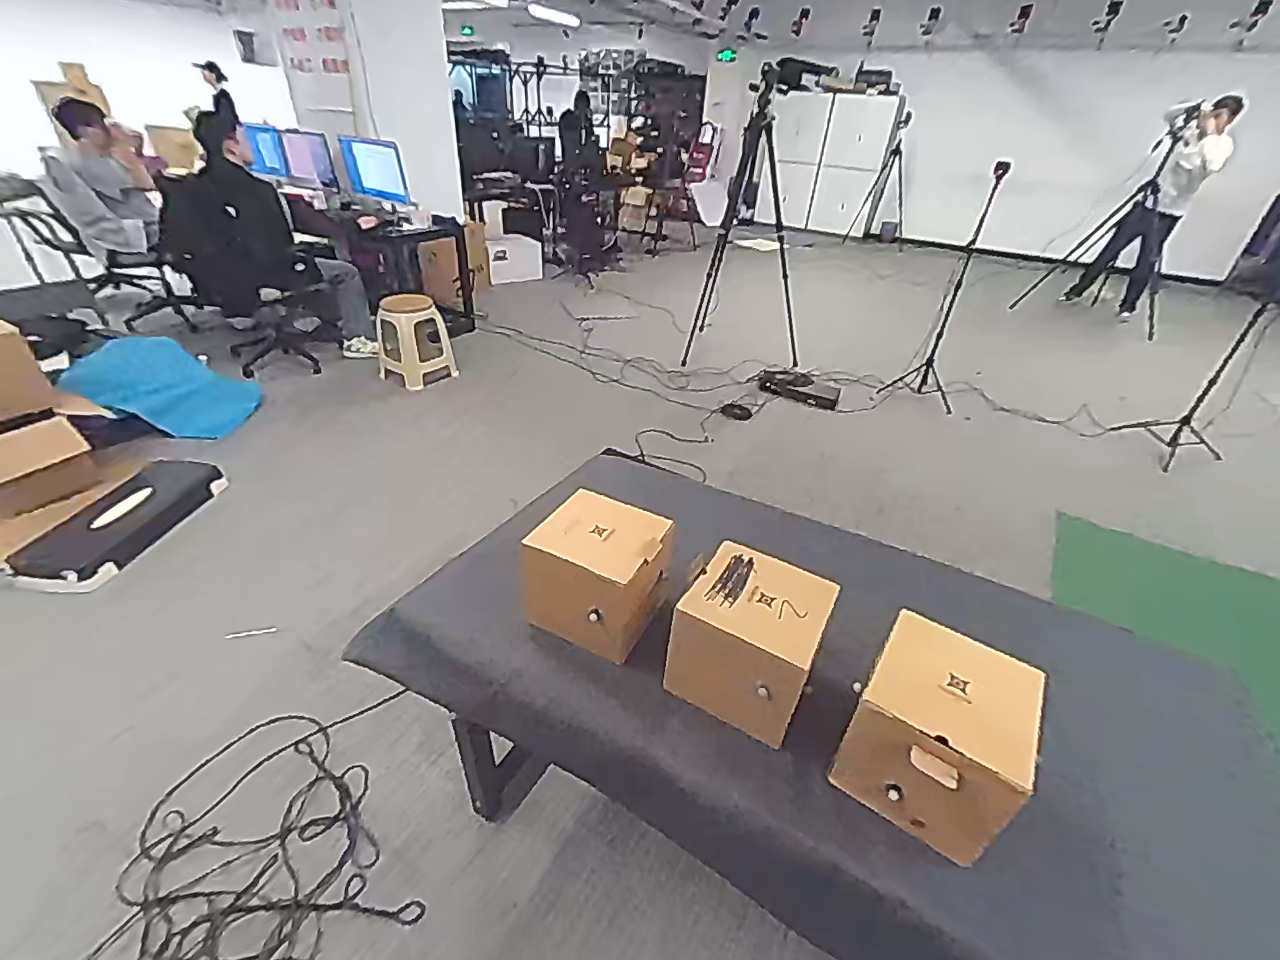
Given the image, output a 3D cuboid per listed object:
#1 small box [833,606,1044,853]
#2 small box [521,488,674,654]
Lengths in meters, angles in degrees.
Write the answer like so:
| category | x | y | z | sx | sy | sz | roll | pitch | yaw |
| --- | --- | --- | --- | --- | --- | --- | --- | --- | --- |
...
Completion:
| category | x | y | z | sx | sy | sz | roll | pitch | yaw |
| --- | --- | --- | --- | --- | --- | --- | --- | --- | --- |
| small box | 0.357 | 0.297 | 0.661 | 0.168 | 0.176 | 0.179 | 25 | 39 | 27 |
| small box | -0.064 | 0.142 | 0.848 | 0.179 | 0.176 | 0.168 | 17 | 35 | 20 |
